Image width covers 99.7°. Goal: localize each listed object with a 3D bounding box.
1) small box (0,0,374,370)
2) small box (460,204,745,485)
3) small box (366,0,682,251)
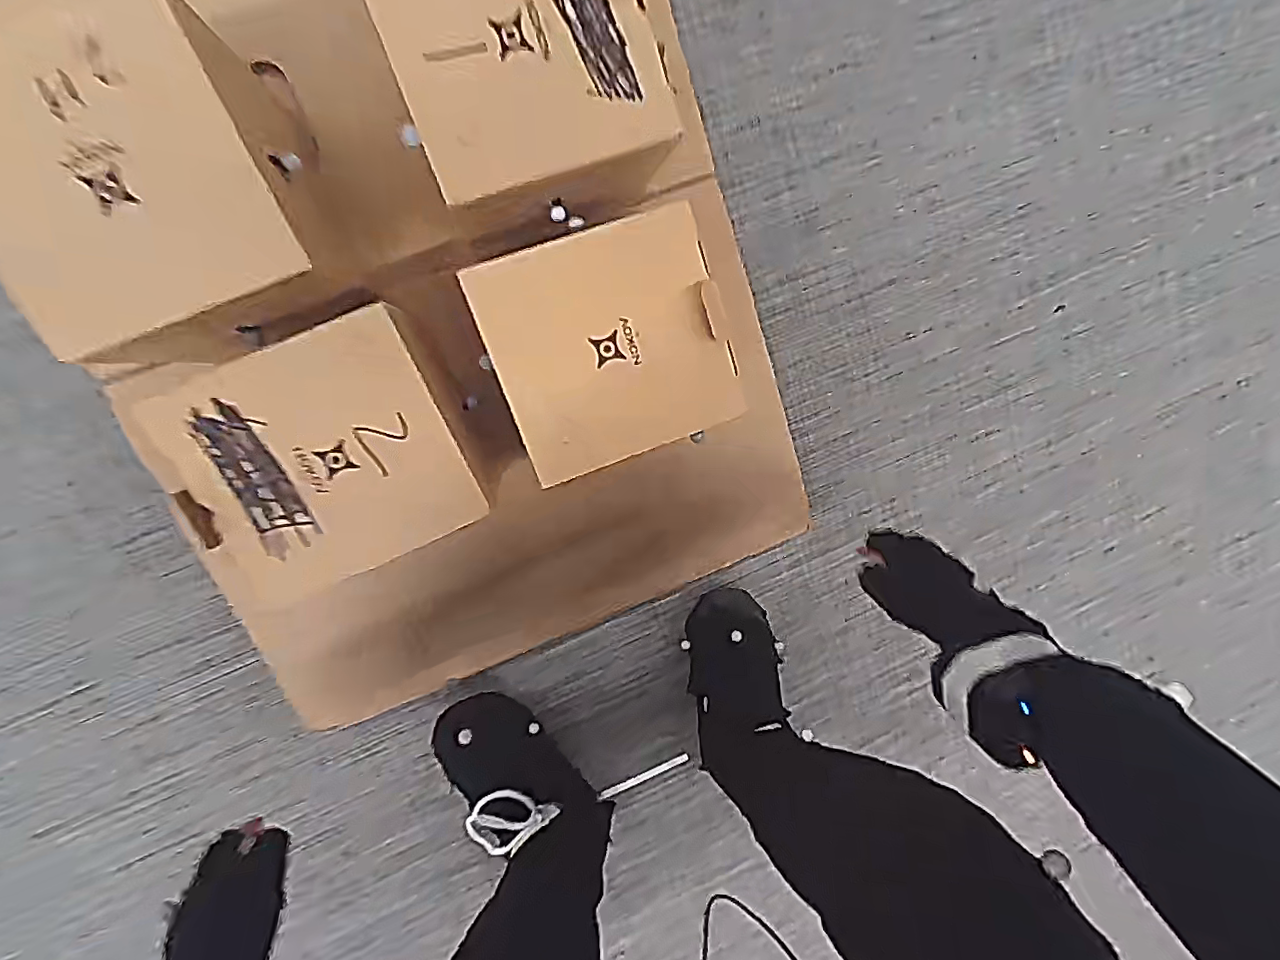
[{"bbox_3d":[-0.332,-0.195,0.404,0.168,0.176,0.179,-24,106,-5],"label":"small box"},{"bbox_3d":[-0.035,-0.112,0.475,0.179,0.176,0.168,-20,105,-8],"label":"small box"},{"bbox_3d":[-0.089,-0.299,0.426,0.179,0.176,0.168,-20,106,-5],"label":"small box"}]
